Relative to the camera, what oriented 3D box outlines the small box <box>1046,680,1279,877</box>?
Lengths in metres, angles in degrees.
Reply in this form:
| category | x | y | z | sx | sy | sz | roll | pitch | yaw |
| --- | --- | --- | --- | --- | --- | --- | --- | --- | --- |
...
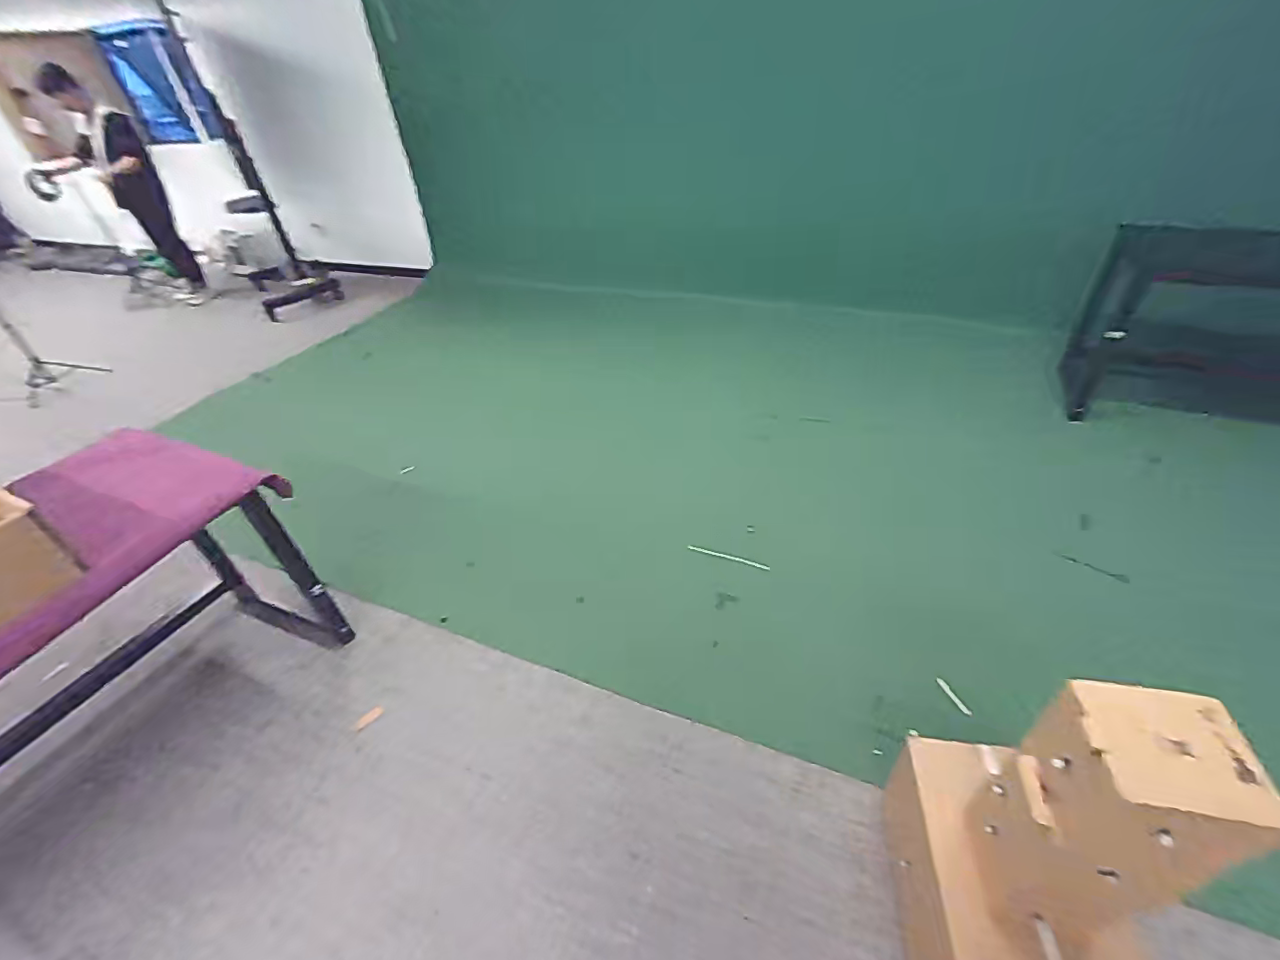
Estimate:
| category | x | y | z | sx | sy | sz | roll | pitch | yaw |
| --- | --- | --- | --- | --- | --- | --- | --- | --- | --- |
| small box | 0.683 | 0.398 | 0.725 | 0.179 | 0.176 | 0.168 | 3 | 40 | 14 |

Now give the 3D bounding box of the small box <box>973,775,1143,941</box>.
| category | x | y | z | sx | sy | sz | roll | pitch | yaw |
| --- | --- | --- | --- | --- | --- | --- | --- | --- | --- |
| small box | 0.704 | 0.650 | 0.935 | 0.168 | 0.176 | 0.179 | 4 | 40 | 14 |

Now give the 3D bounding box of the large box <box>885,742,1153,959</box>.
| category | x | y | z | sx | sy | sz | roll | pitch | yaw |
| --- | --- | --- | --- | --- | --- | --- | --- | --- | --- |
| large box | 0.727 | 0.824 | 1.107 | 0.320 | 0.320 | 0.408 | 3 | 38 | 9 |

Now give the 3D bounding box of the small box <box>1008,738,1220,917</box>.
| category | x | y | z | sx | sy | sz | roll | pitch | yaw |
| --- | --- | --- | --- | --- | --- | --- | --- | --- | --- |
| small box | 0.693 | 0.529 | 0.824 | 0.179 | 0.176 | 0.168 | 5 | 40 | 15 |
